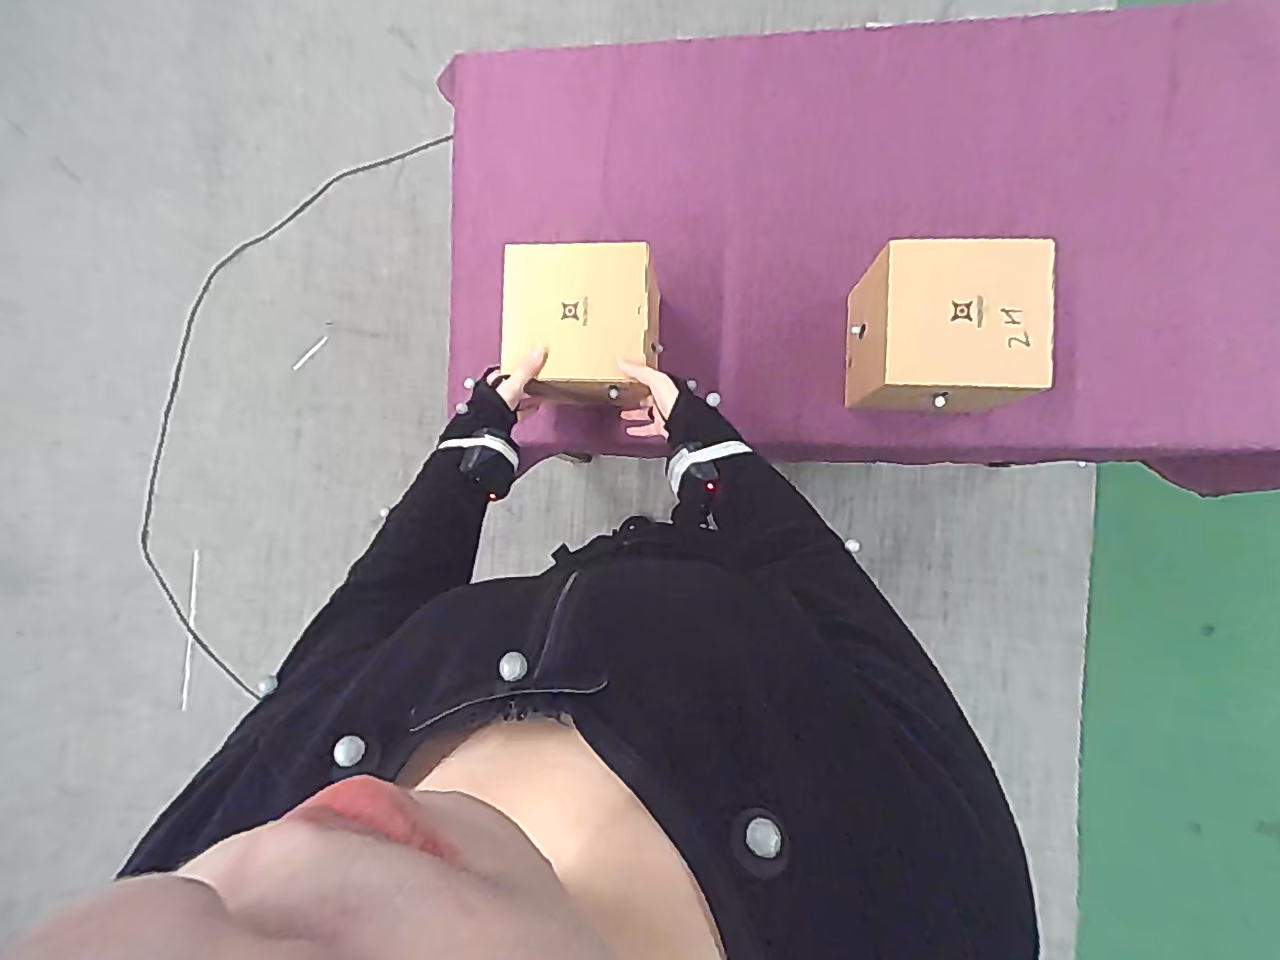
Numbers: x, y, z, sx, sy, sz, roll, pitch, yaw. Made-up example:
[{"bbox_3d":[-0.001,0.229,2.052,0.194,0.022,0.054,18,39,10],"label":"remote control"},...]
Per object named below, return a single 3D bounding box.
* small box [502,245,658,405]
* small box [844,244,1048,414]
[{"bbox_3d":[-0.070,-0.196,0.724,0.179,0.176,0.168,1,88,4],"label":"small box"},{"bbox_3d":[0.367,-0.178,0.682,0.179,0.176,0.168,3,89,5],"label":"small box"}]
